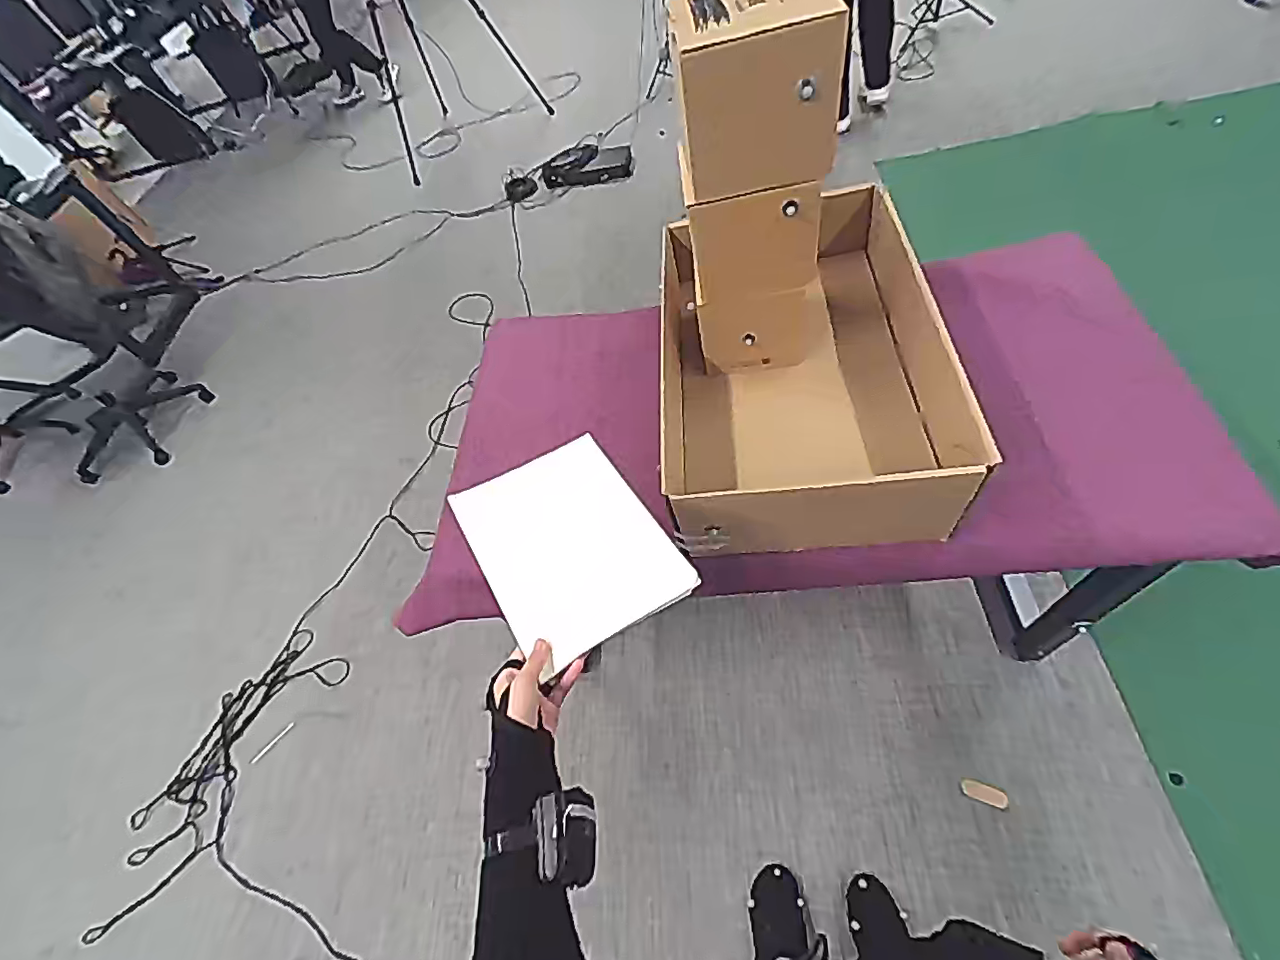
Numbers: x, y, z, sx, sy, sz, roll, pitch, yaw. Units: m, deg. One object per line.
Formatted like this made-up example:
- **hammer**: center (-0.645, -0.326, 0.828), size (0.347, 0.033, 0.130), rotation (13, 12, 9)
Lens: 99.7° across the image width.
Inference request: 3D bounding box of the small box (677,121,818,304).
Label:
- **small box**: center (0.157, -0.385, 0.799), size (0.179, 0.176, 0.168), rotation (-8, 57, 9)

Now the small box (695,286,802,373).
- **small box**: center (0.187, -0.302, 0.935), size (0.168, 0.176, 0.179), rotation (-6, 58, 11)
